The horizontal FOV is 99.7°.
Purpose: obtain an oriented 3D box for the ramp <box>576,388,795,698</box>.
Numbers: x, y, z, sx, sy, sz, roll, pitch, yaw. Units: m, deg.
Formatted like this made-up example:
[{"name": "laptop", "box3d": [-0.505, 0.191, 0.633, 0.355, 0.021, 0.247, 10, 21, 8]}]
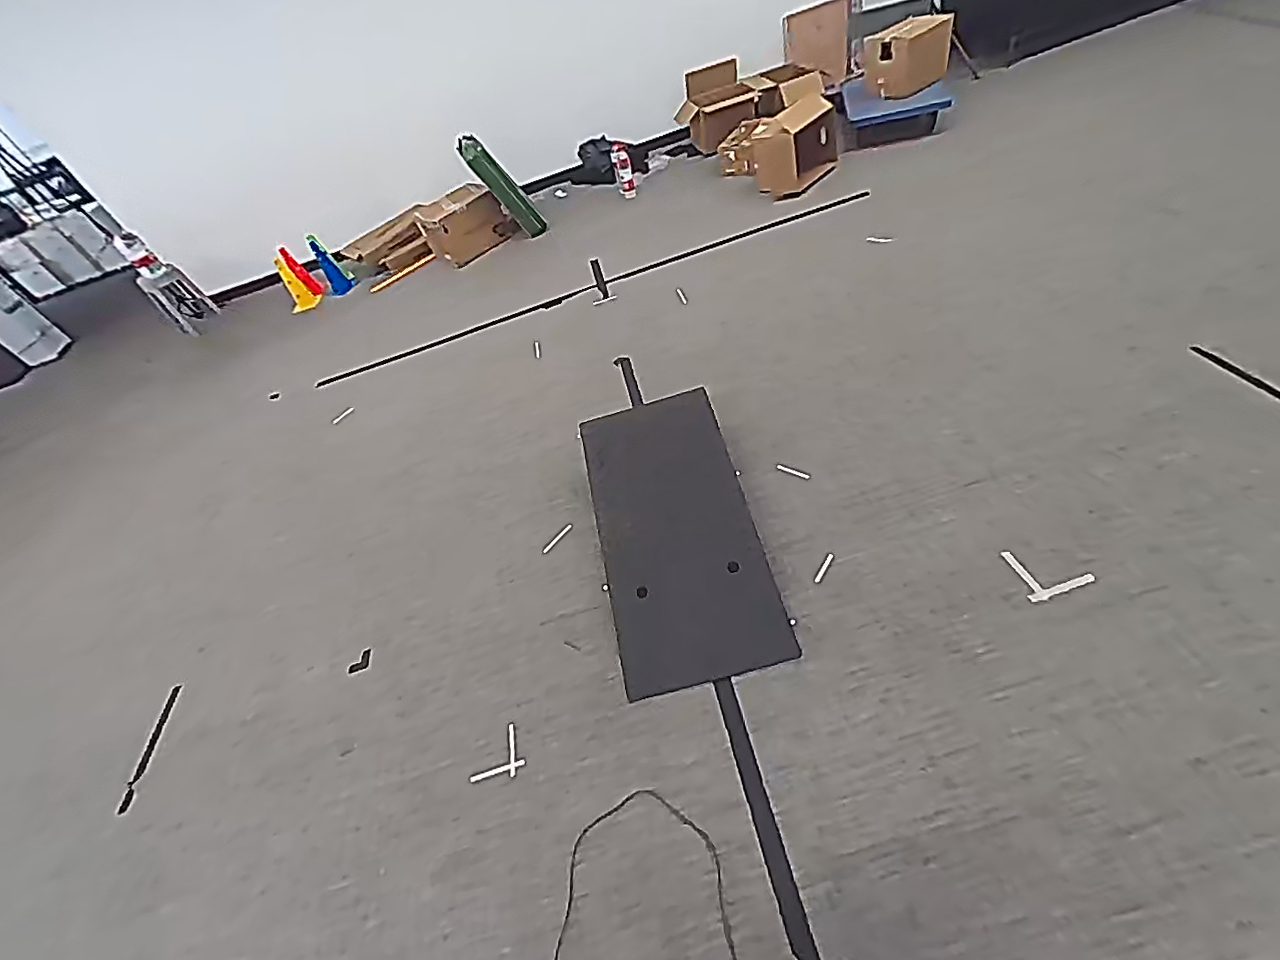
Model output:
[{"name": "ramp", "box3d": [0.095, 0.133, 1.745, 0.509, 0.206, 0.991, -17, 47, 2]}]
